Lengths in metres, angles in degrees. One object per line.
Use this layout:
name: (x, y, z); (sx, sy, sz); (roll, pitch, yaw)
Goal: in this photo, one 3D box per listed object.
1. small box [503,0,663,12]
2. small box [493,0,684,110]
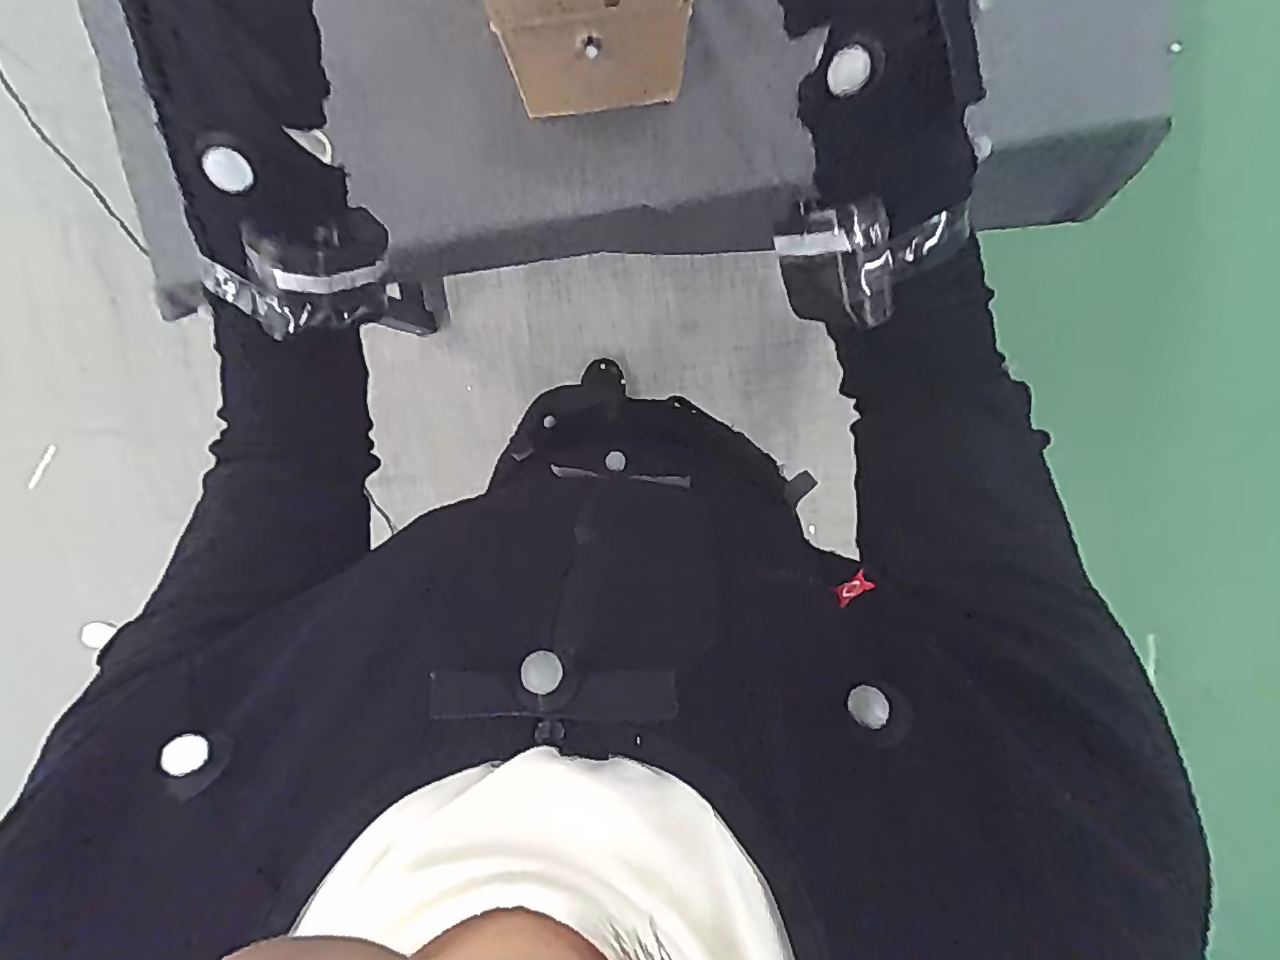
small box: (-0.054, -0.479, 0.383); (0.168, 0.176, 0.179); (-6, 100, 1)
small box: (-0.051, -0.507, 0.544); (0.179, 0.176, 0.168); (-7, 99, 0)
